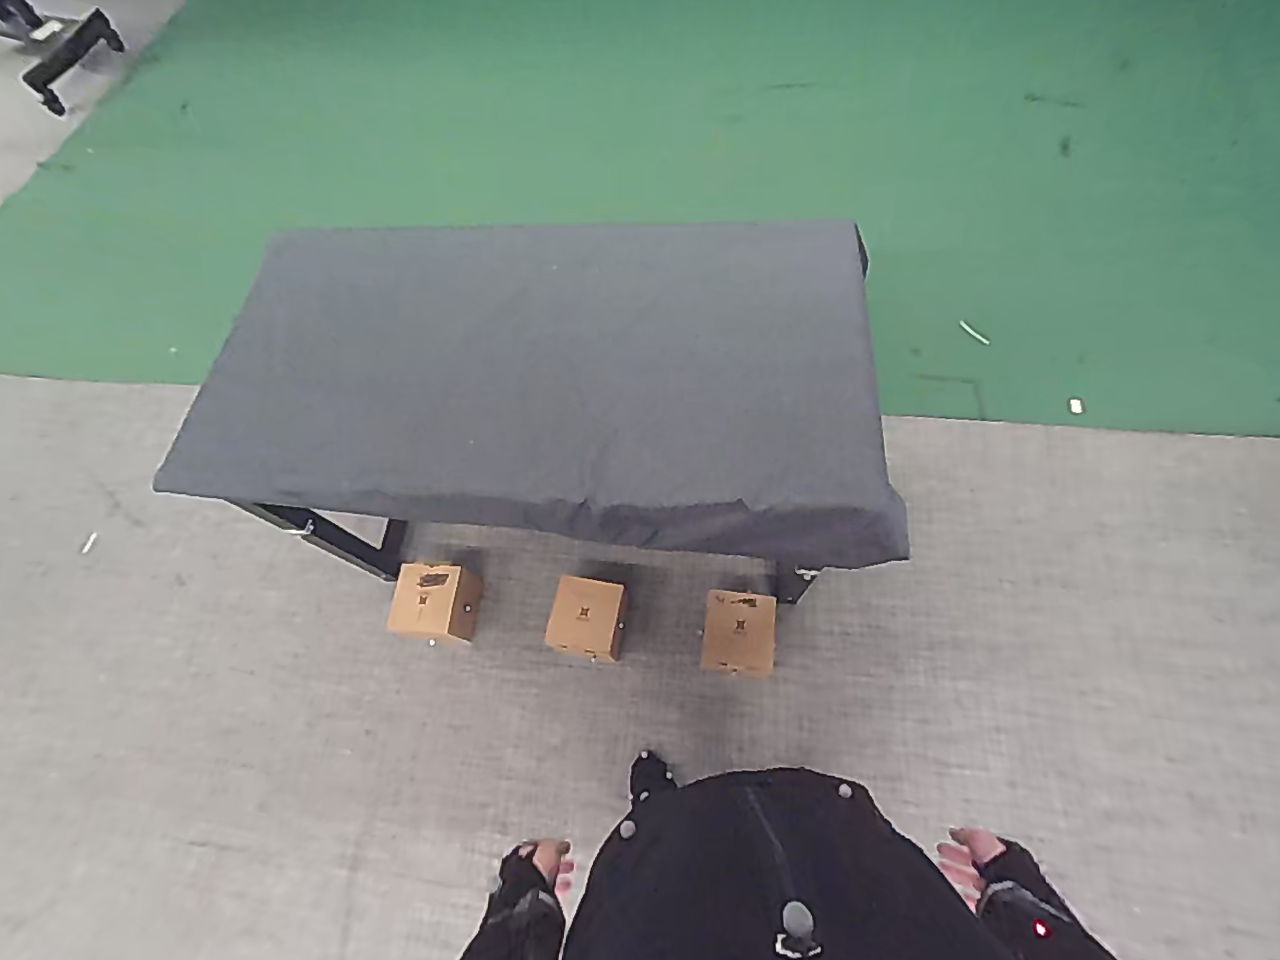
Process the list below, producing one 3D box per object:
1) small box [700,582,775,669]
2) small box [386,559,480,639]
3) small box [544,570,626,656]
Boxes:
[{"bbox_3d":[0.242,0.373,1.363,0.168,0.176,0.179,6,66,8],"label":"small box"},{"bbox_3d":[-0.546,0.324,1.453,0.168,0.176,0.179,2,67,6],"label":"small box"},{"bbox_3d":[-0.135,0.351,1.407,0.168,0.176,0.179,8,66,7],"label":"small box"}]
